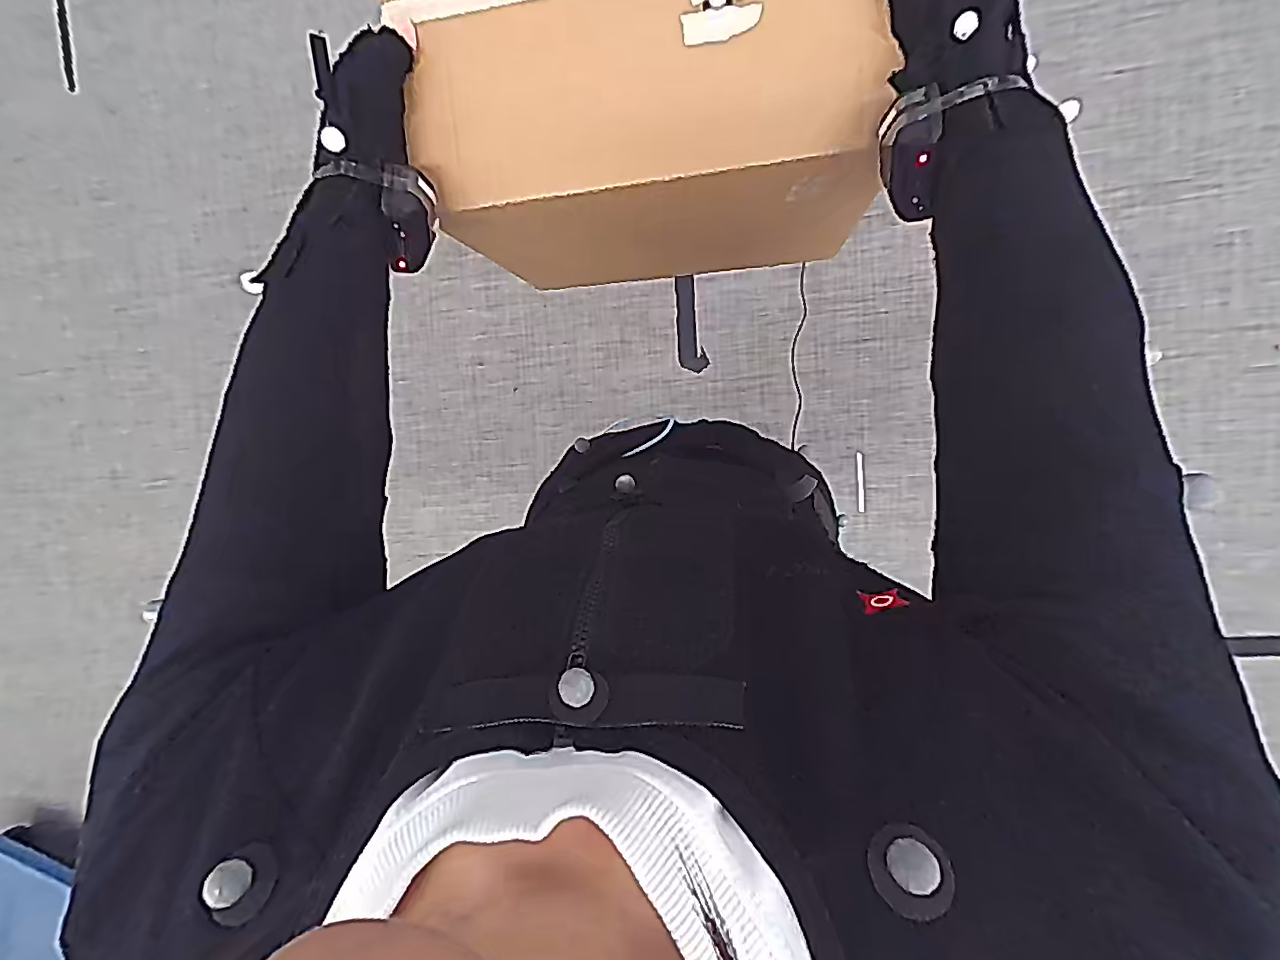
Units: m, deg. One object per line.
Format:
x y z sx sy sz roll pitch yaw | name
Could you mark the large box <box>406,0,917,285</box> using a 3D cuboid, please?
0.021 -0.418 0.566 0.408 0.320 0.320 -4 98 9 | large box
